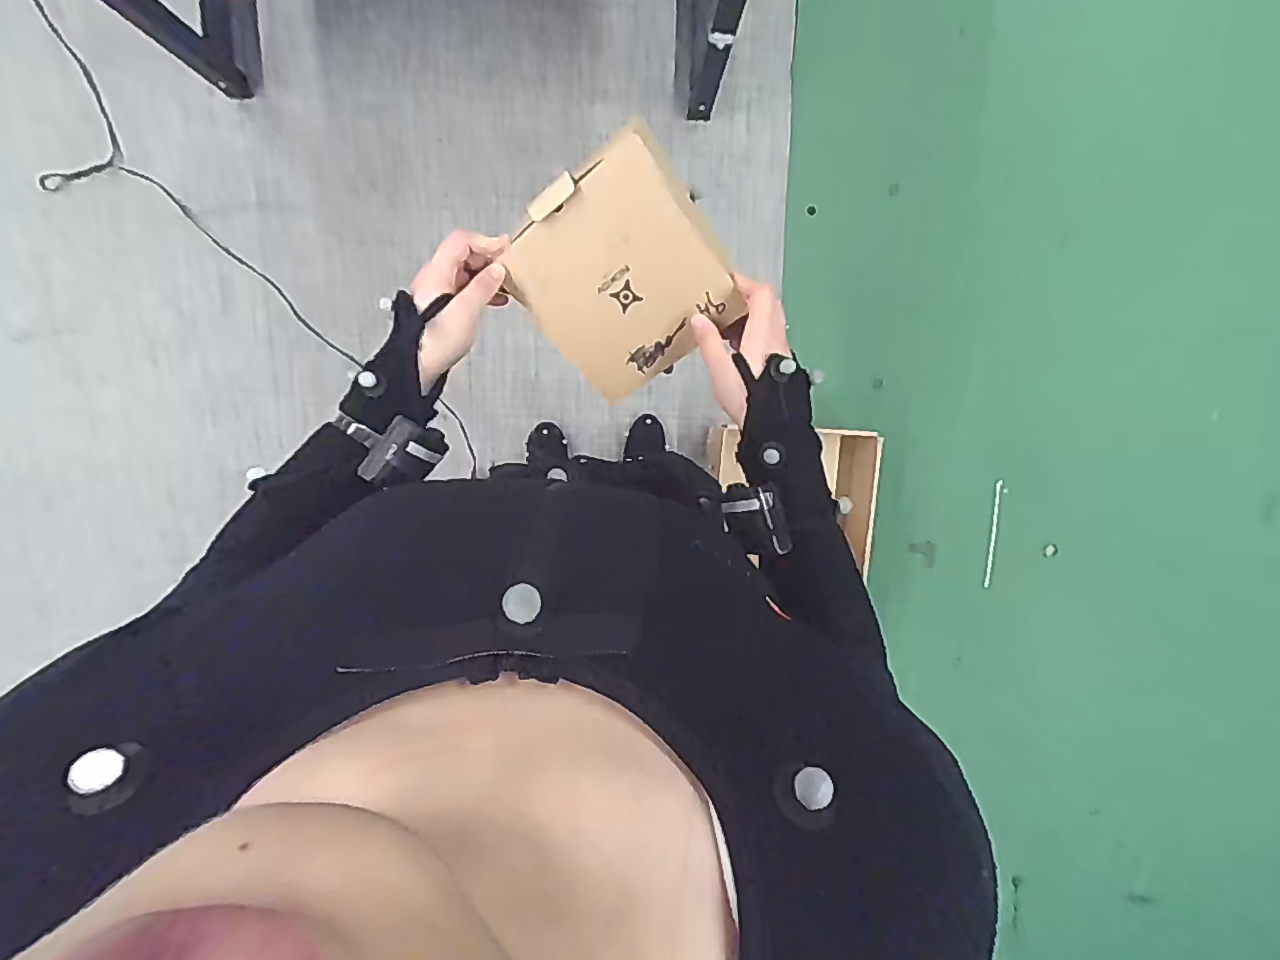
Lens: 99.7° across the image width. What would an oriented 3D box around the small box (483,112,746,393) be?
[{"bbox_3d":[-0.019,-0.225,0.532,0.168,0.176,0.179,-30,122,22],"label":"small box"}]
